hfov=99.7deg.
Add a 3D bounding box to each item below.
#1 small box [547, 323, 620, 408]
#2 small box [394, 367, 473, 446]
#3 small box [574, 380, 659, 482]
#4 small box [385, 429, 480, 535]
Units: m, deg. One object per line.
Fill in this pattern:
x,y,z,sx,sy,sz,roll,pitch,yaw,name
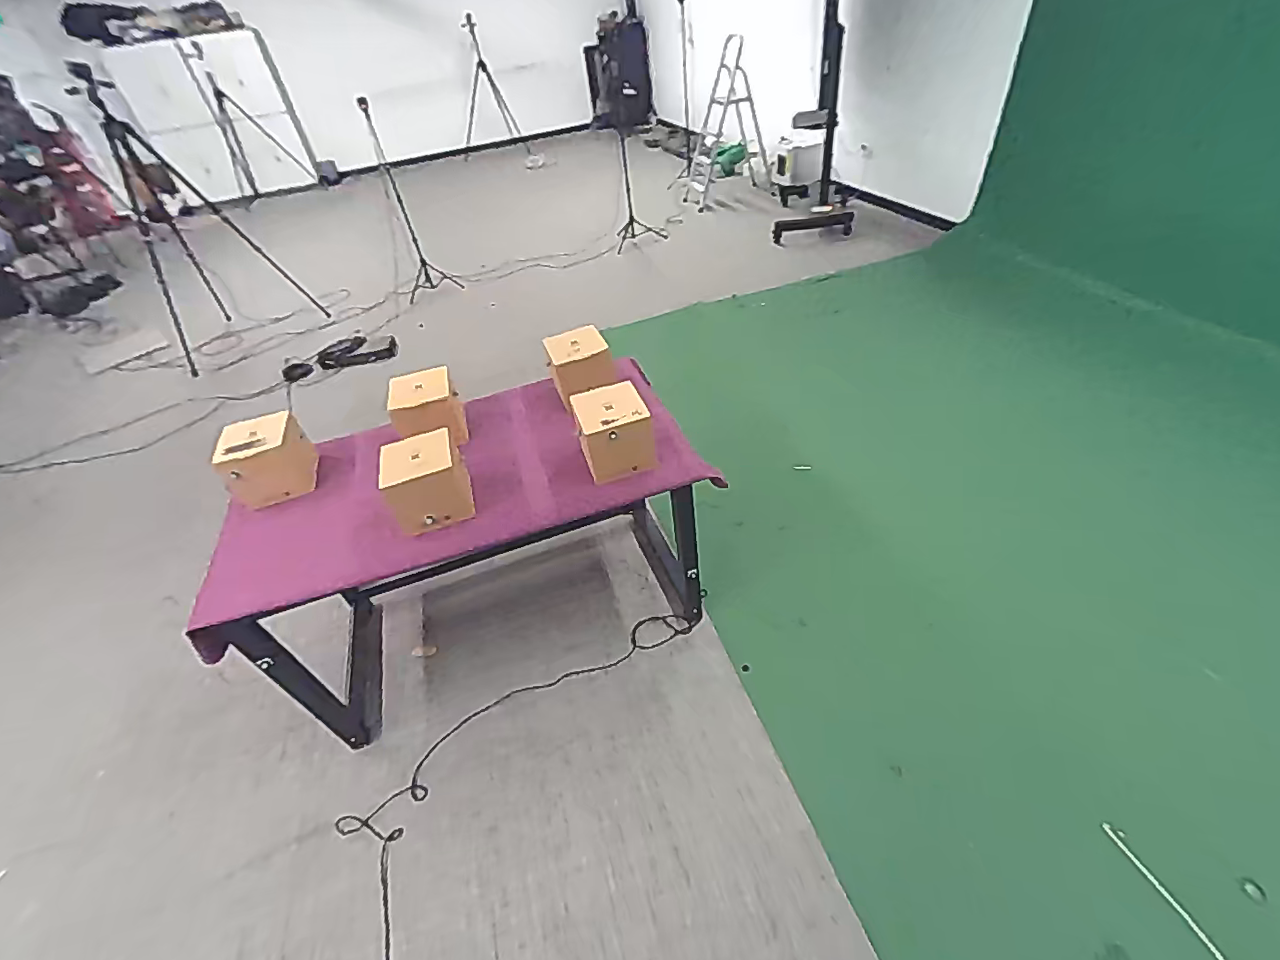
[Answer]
-0.168,-0.344,1.637,0.168,0.176,0.179,-21,44,-7,small box
-0.595,-0.199,1.572,0.168,0.176,0.179,-17,45,-7,small box
-0.059,-0.125,1.379,0.168,0.176,0.179,-18,43,-6,small box
-0.507,0.005,1.333,0.168,0.176,0.179,-19,42,-8,small box
